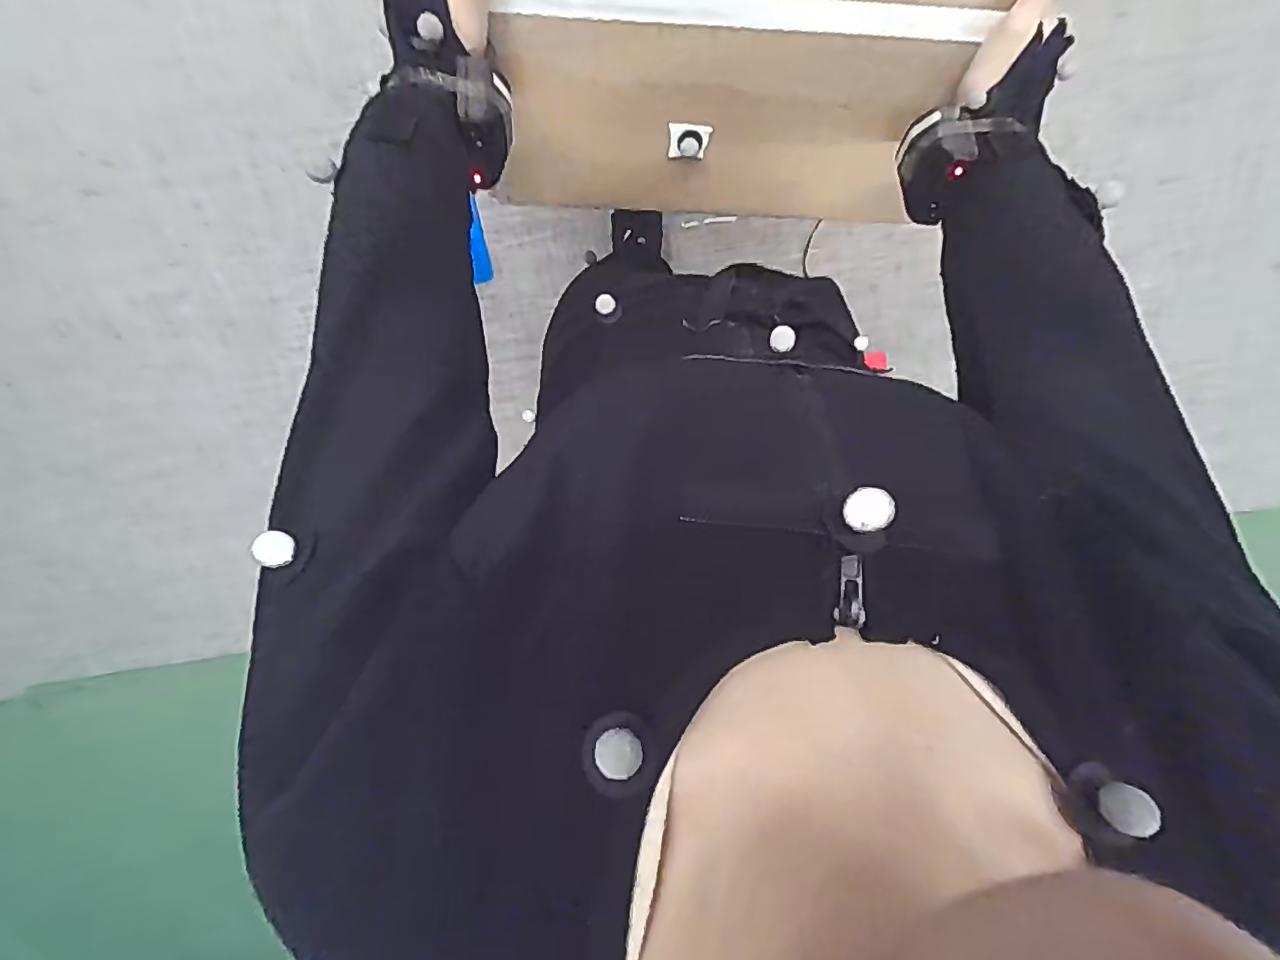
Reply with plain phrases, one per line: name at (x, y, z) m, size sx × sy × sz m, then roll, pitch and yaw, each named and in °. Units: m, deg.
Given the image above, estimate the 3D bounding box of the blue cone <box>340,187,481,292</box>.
blue cone at (-0.440, -0.438, 1.000) m, size 0.192 × 0.380 × 0.193 m, roll -8°, pitch 116°, yaw 2°

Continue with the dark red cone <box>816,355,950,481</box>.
dark red cone at (0.533, -0.109, 1.156) m, size 0.202 × 0.394 × 0.201 m, roll -15°, pitch 119°, yaw 5°

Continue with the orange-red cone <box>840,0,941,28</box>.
orange-red cone at (0.475, -0.865, 0.806) m, size 0.199 × 0.360 × 0.198 m, roll 9°, pitch 117°, yaw -8°
